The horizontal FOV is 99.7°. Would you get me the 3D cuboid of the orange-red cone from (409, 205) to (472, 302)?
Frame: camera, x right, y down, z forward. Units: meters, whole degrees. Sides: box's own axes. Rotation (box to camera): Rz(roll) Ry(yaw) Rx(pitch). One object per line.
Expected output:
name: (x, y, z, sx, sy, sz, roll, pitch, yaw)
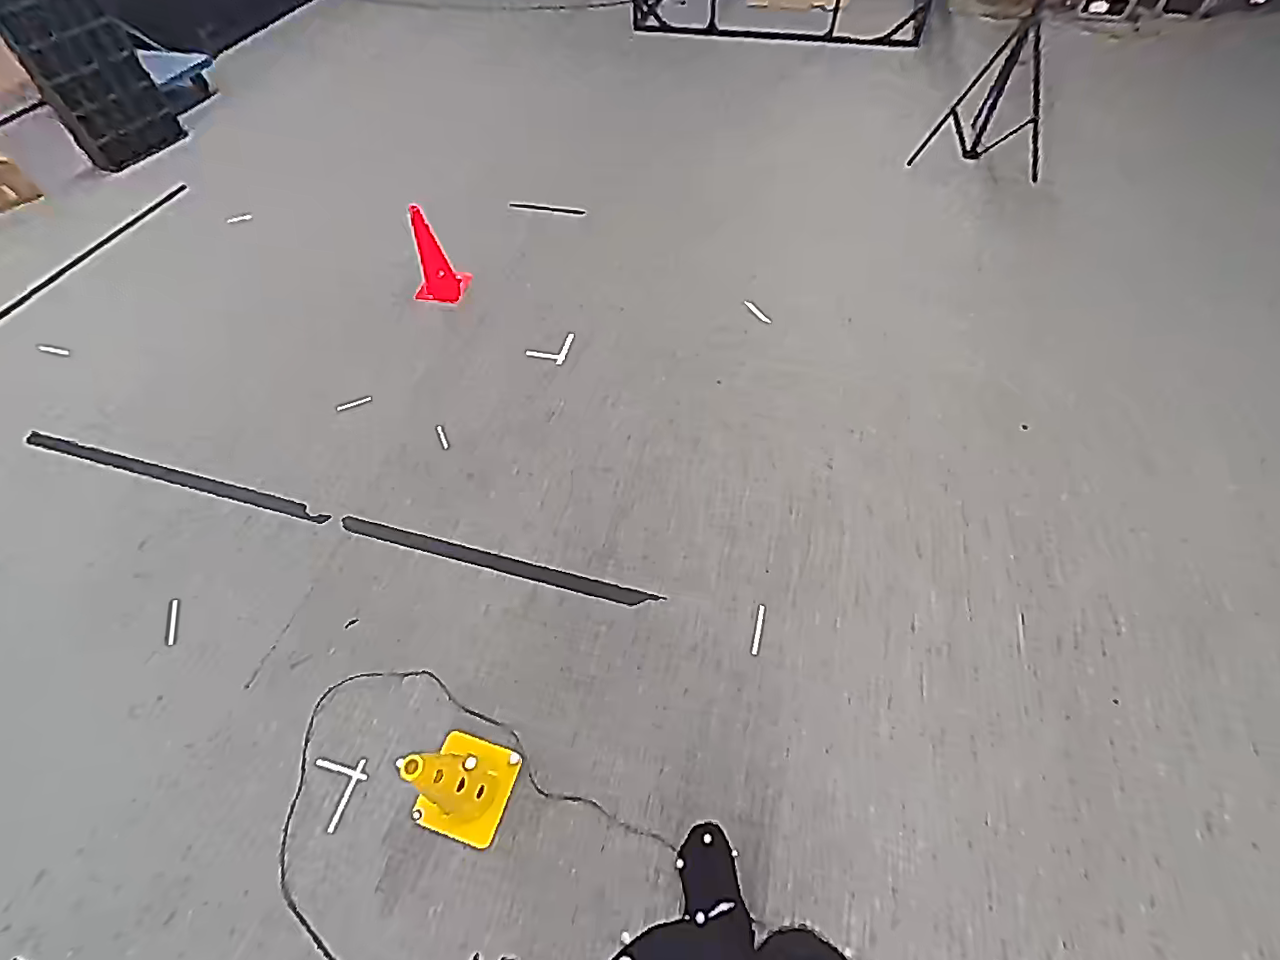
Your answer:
orange-red cone: (-0.856, -0.933, 2.199, 0.199, 0.360, 0.198, 7, 56, 9)
